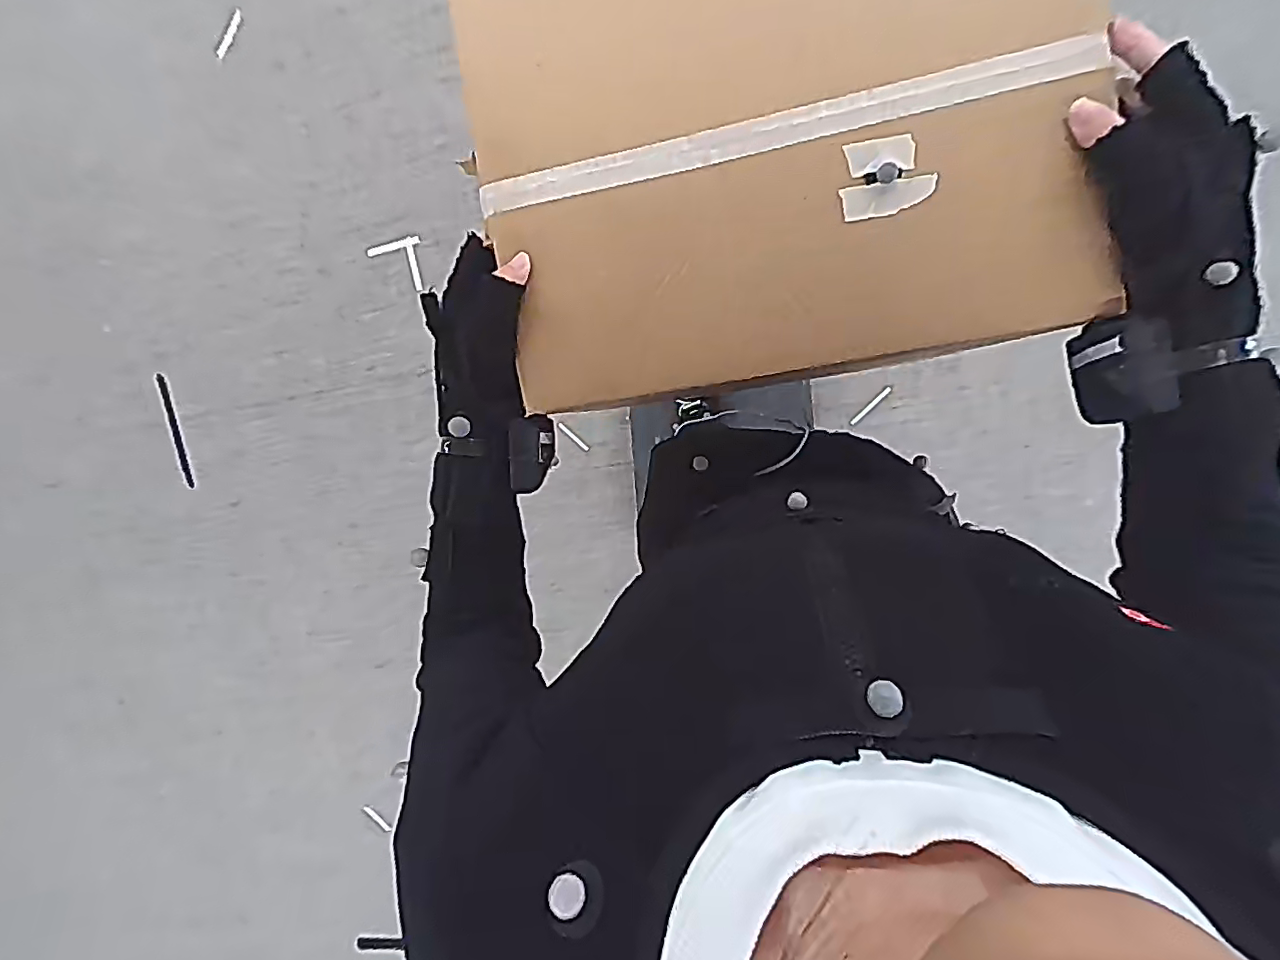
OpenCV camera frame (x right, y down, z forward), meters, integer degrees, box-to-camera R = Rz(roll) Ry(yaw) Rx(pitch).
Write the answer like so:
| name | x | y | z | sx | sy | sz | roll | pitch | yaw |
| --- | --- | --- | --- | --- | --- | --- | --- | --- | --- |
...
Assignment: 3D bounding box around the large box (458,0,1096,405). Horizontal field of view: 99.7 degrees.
| name | x | y | z | sx | sy | sz | roll | pitch | yaw |
| --- | --- | --- | --- | --- | --- | --- | --- | --- | --- |
| large box | 0.104 | -0.259 | 0.520 | 0.408 | 0.320 | 0.320 | -9 | 97 | 9 |
